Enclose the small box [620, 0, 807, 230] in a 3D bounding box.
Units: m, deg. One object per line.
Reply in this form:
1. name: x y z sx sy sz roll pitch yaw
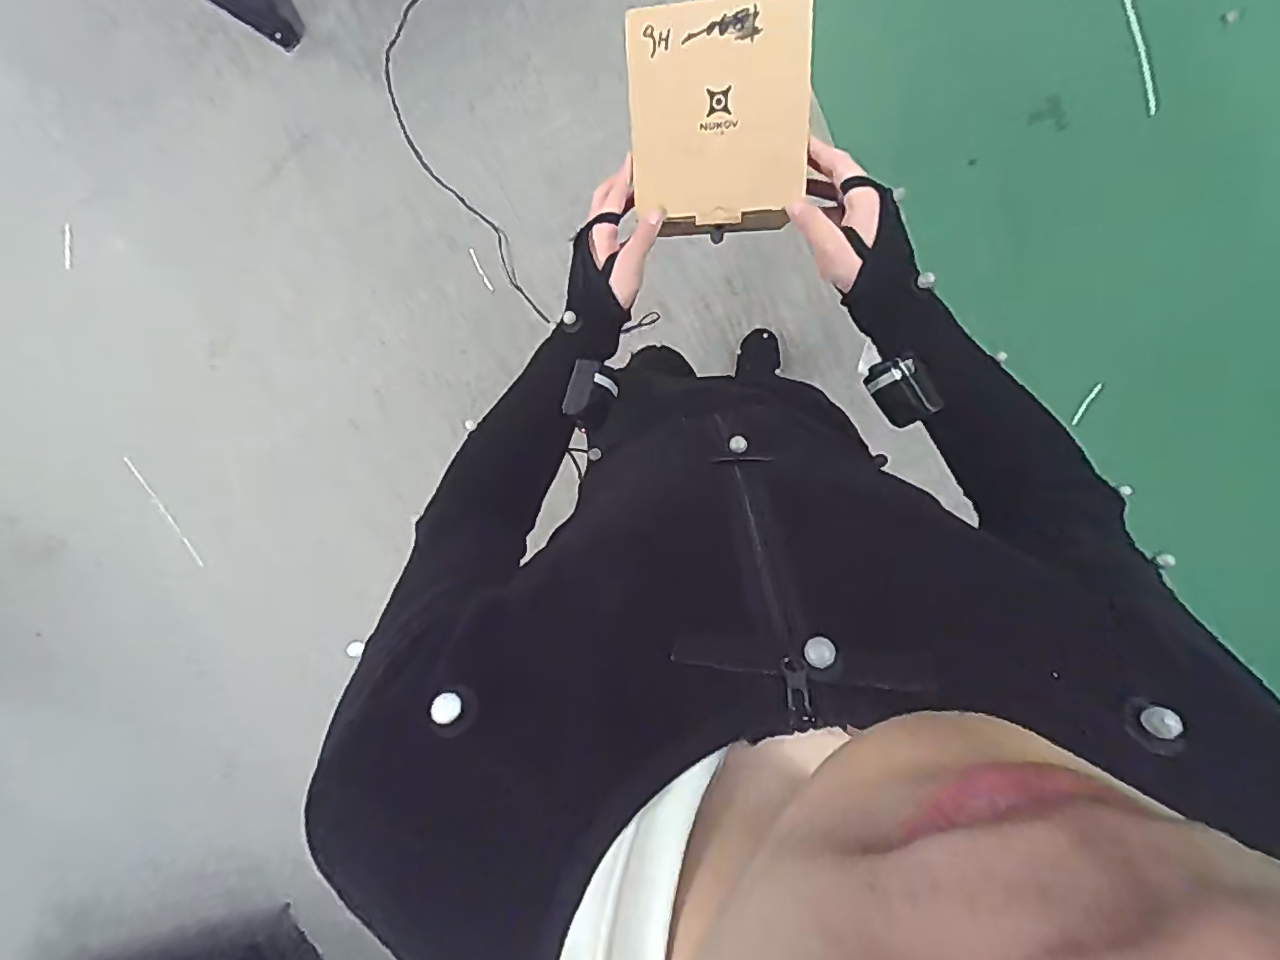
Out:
1. small box: 0.078 -0.367 0.573 0.168 0.176 0.179 -1 110 8
